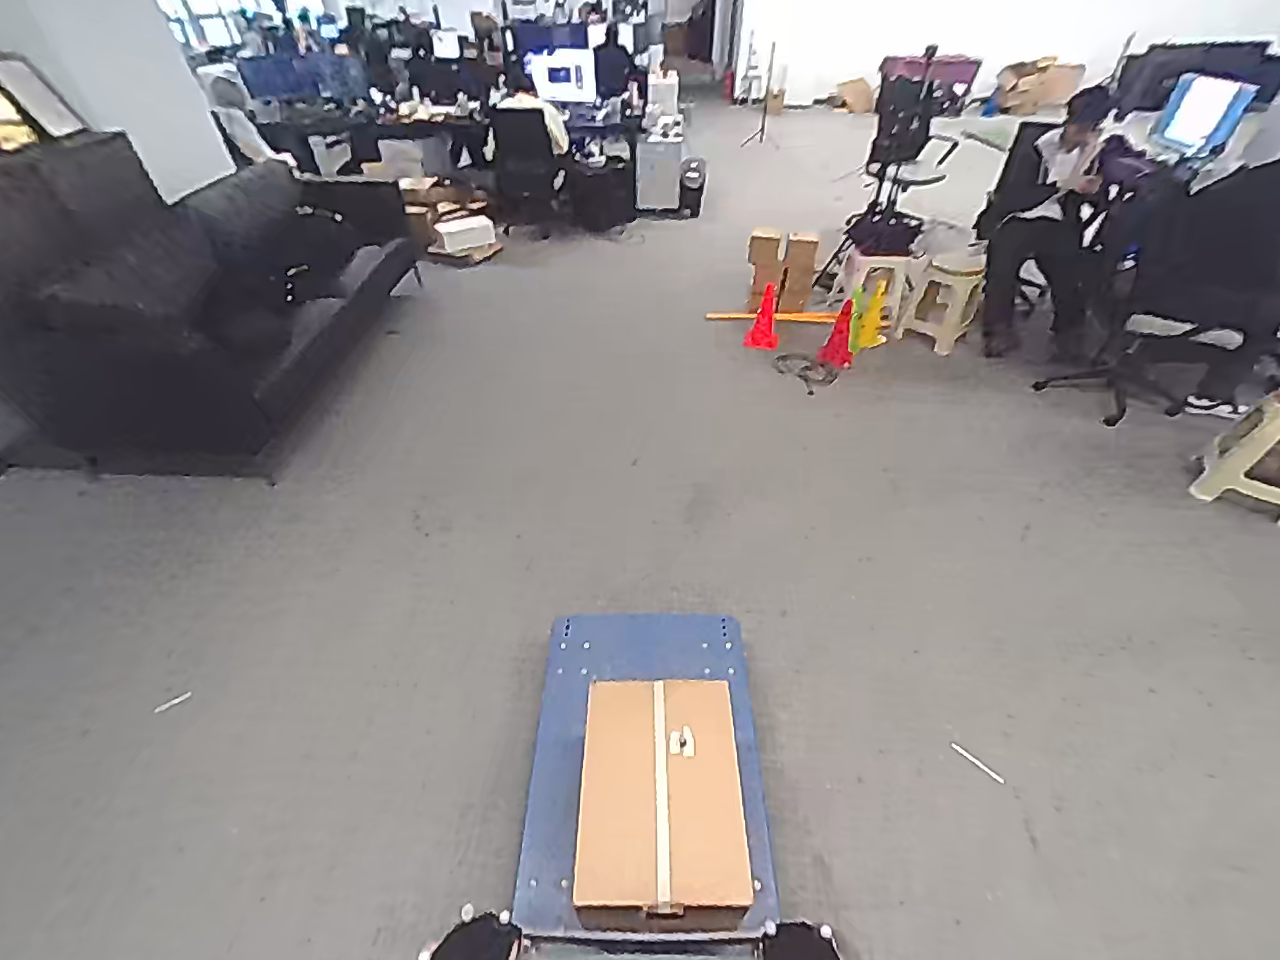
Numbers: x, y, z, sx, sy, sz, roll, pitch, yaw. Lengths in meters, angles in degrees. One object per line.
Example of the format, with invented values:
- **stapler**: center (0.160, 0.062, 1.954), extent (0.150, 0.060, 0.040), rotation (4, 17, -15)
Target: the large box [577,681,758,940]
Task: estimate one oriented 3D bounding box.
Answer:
- **large box**: center (0.047, 0.694, 1.152), extent (0.320, 0.320, 0.408), rotation (0, 42, 0)
